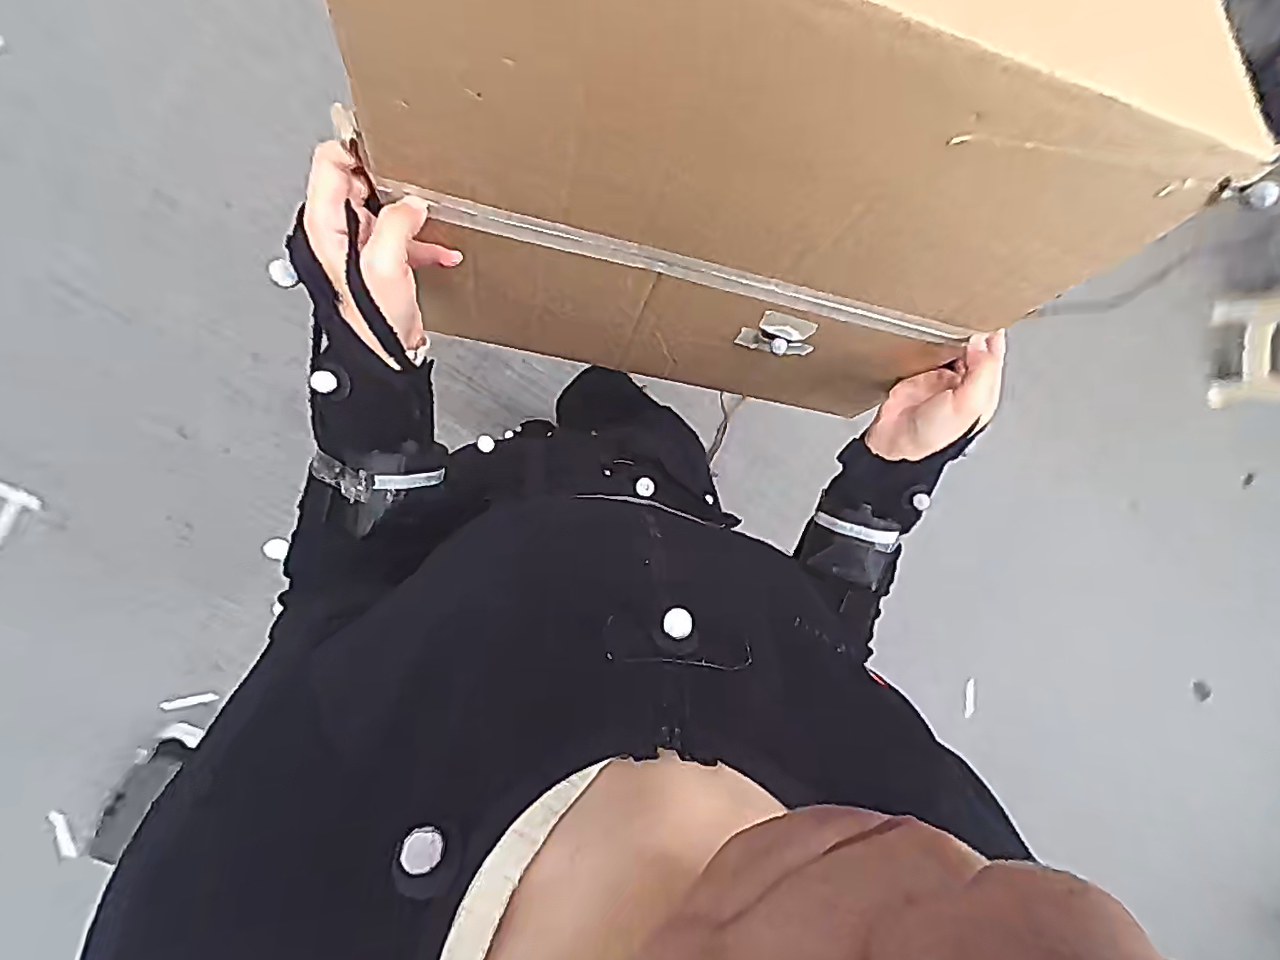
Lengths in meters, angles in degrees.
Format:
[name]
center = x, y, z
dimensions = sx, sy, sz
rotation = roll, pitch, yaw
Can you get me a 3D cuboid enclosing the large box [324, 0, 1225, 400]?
[large box]
center = 0.050, -0.285, 0.390
dimensions = 0.408, 0.320, 0.320
rotation = 7, 74, -12
